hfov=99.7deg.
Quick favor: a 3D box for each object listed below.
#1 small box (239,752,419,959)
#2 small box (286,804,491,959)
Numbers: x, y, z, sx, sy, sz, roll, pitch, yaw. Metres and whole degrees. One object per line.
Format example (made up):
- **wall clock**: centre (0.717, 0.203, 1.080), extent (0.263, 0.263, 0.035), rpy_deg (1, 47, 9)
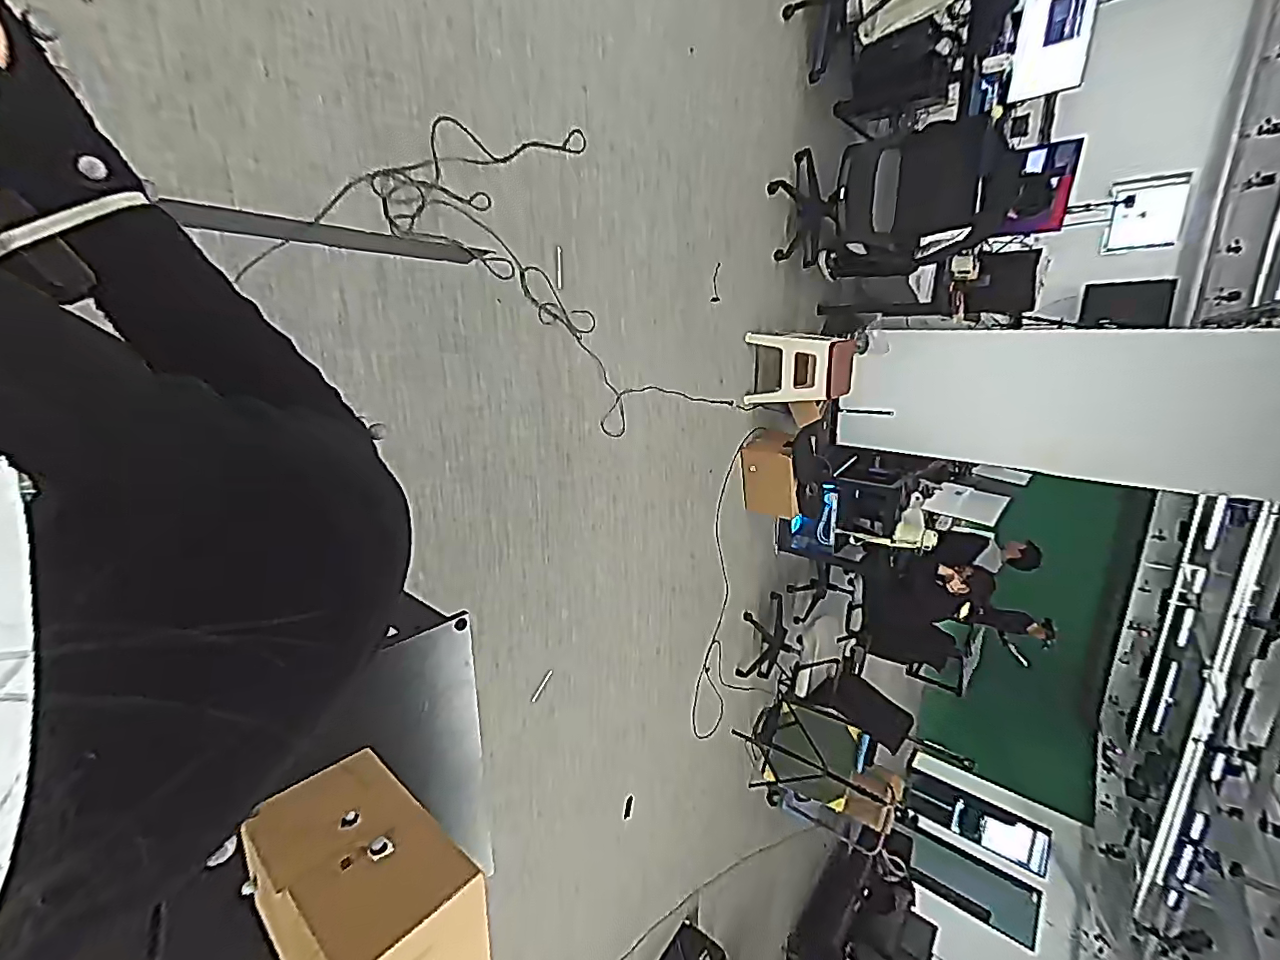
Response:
- **small box**: centre (-0.432, 0.529, 0.768), extent (0.179, 0.176, 0.168), rpy_deg (-15, 111, -47)
- **small box**: centre (-0.307, 0.554, 0.668), extent (0.168, 0.176, 0.179), rpy_deg (-18, 112, -49)
